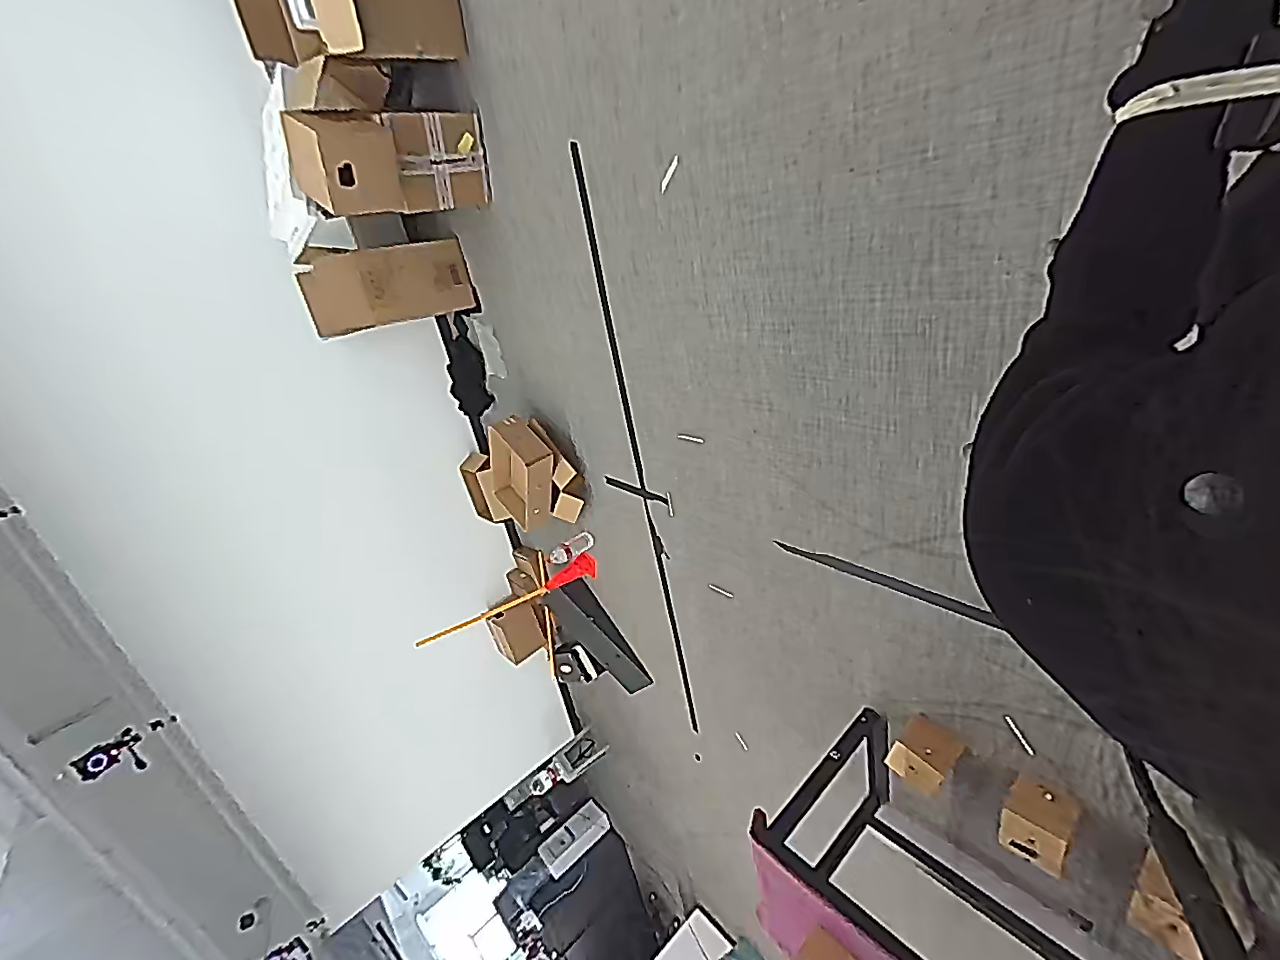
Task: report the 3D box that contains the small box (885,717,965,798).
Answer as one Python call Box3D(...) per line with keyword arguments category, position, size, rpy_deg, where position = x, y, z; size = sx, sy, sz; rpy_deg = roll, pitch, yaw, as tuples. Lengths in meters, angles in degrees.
Box3D(category="small box", position=(1.029, 0.993, 1.955), size=(0.179, 0.176, 0.168), rpy_deg=(33, 137, 35))

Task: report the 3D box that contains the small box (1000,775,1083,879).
Box3D(category="small box", position=(1.260, 1.082, 1.697), size=(0.168, 0.176, 0.179), rpy_deg=(17, 126, 48))

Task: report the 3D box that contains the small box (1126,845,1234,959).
Box3D(category="small box", position=(1.466, 1.155, 1.467), size=(0.168, 0.176, 0.179), rpy_deg=(19, 129, 47))

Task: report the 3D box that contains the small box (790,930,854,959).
Box3D(category="small box", position=(0.561, 1.519, 1.632), size=(0.179, 0.176, 0.168), rpy_deg=(19, 130, 46))
